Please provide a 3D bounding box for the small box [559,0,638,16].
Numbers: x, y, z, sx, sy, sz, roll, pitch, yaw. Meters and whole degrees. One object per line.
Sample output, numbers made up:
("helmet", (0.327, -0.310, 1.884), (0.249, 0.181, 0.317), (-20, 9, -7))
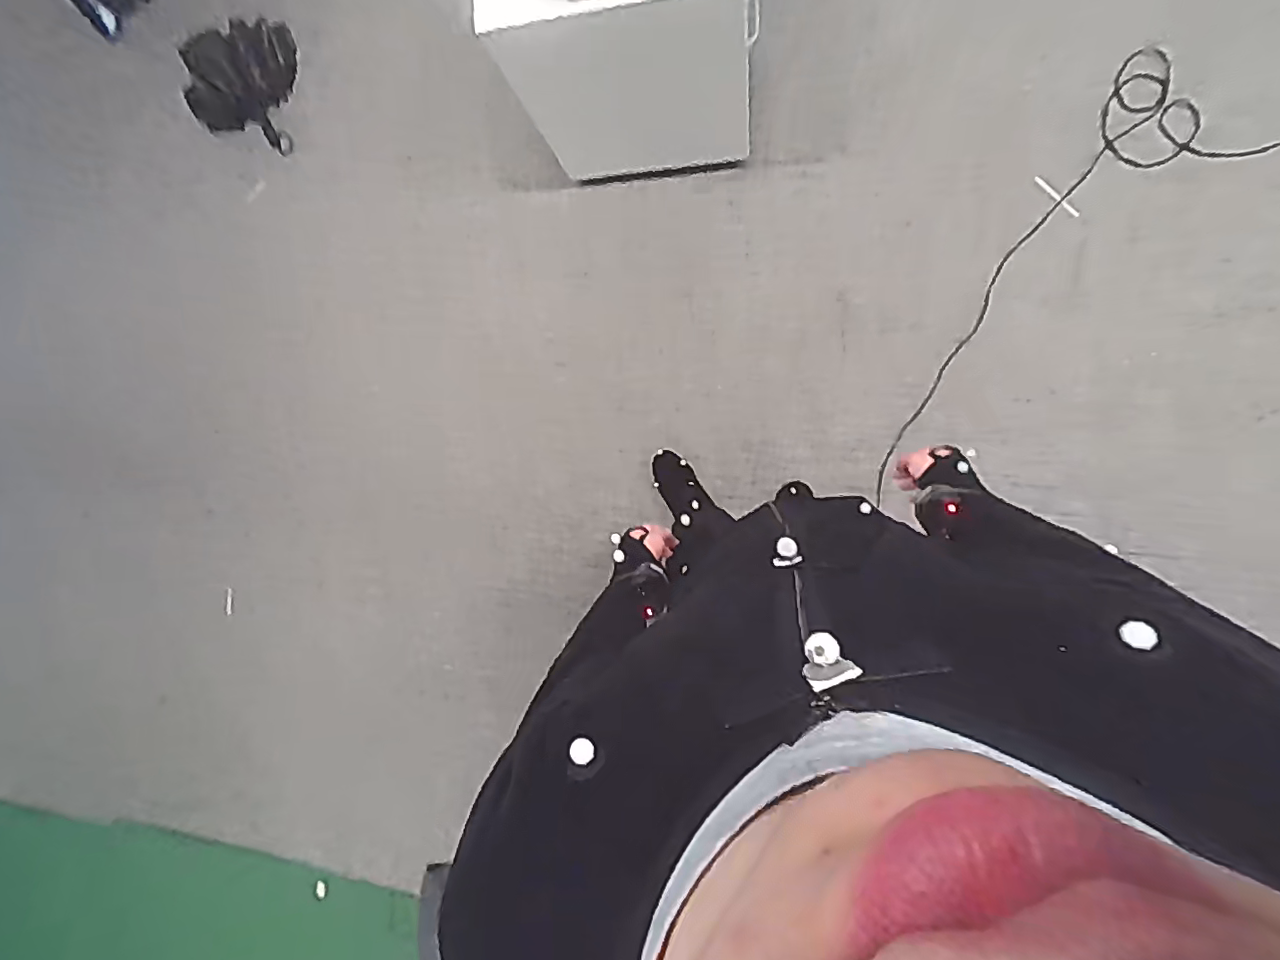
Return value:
("small box", (-0.086, -0.941, 0.902), (0.168, 0.176, 0.179), (-4, 88, 12))
